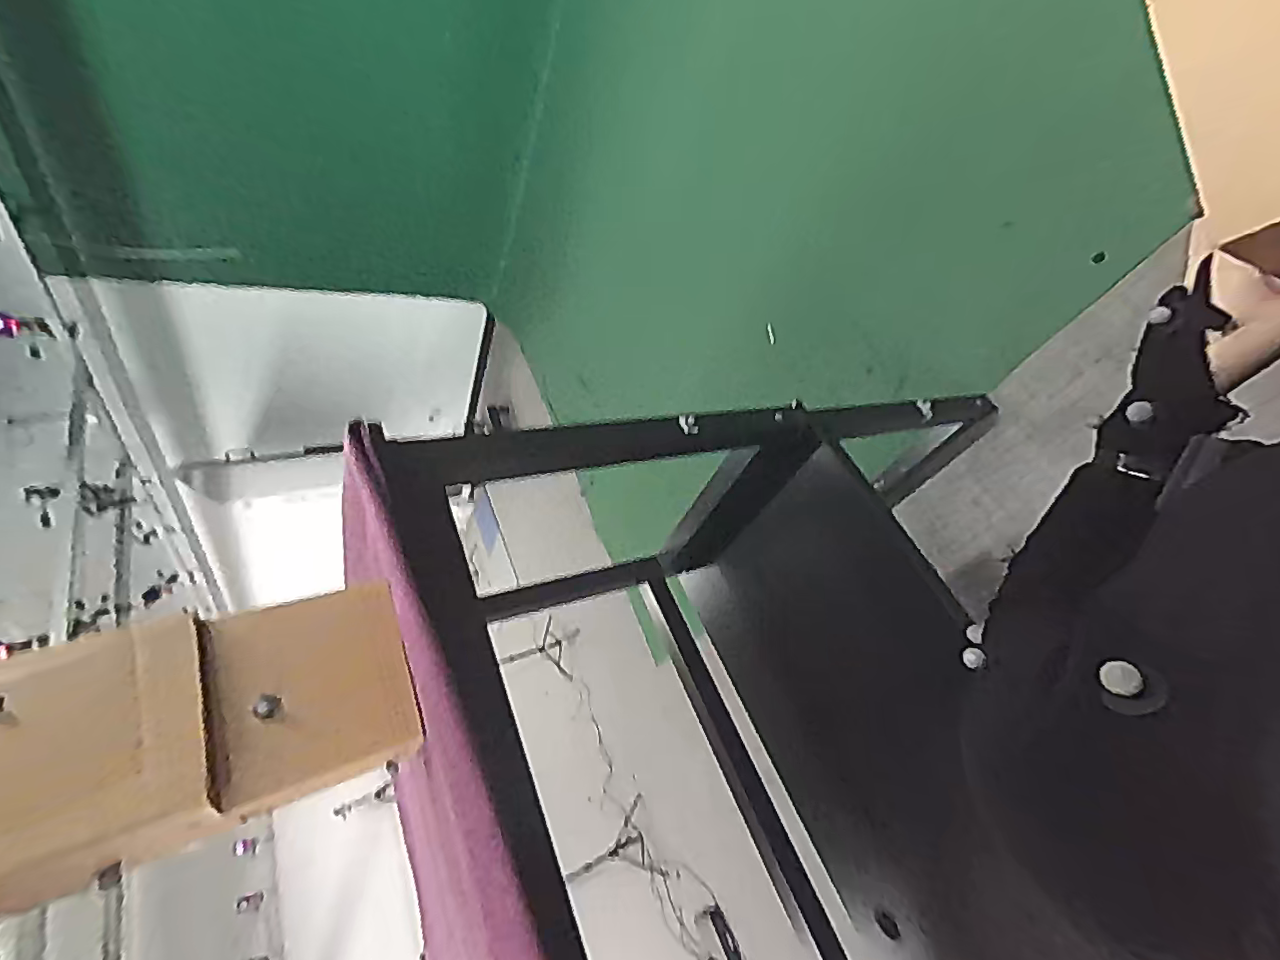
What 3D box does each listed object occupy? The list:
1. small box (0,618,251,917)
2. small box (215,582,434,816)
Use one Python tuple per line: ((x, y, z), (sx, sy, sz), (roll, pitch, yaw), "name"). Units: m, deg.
((-0.464, 0.253, 0.493), (0.179, 0.176, 0.168), (63, 145, 25), "small box")
((-0.334, 0.235, 0.590), (0.179, 0.176, 0.168), (66, 146, 21), "small box")
